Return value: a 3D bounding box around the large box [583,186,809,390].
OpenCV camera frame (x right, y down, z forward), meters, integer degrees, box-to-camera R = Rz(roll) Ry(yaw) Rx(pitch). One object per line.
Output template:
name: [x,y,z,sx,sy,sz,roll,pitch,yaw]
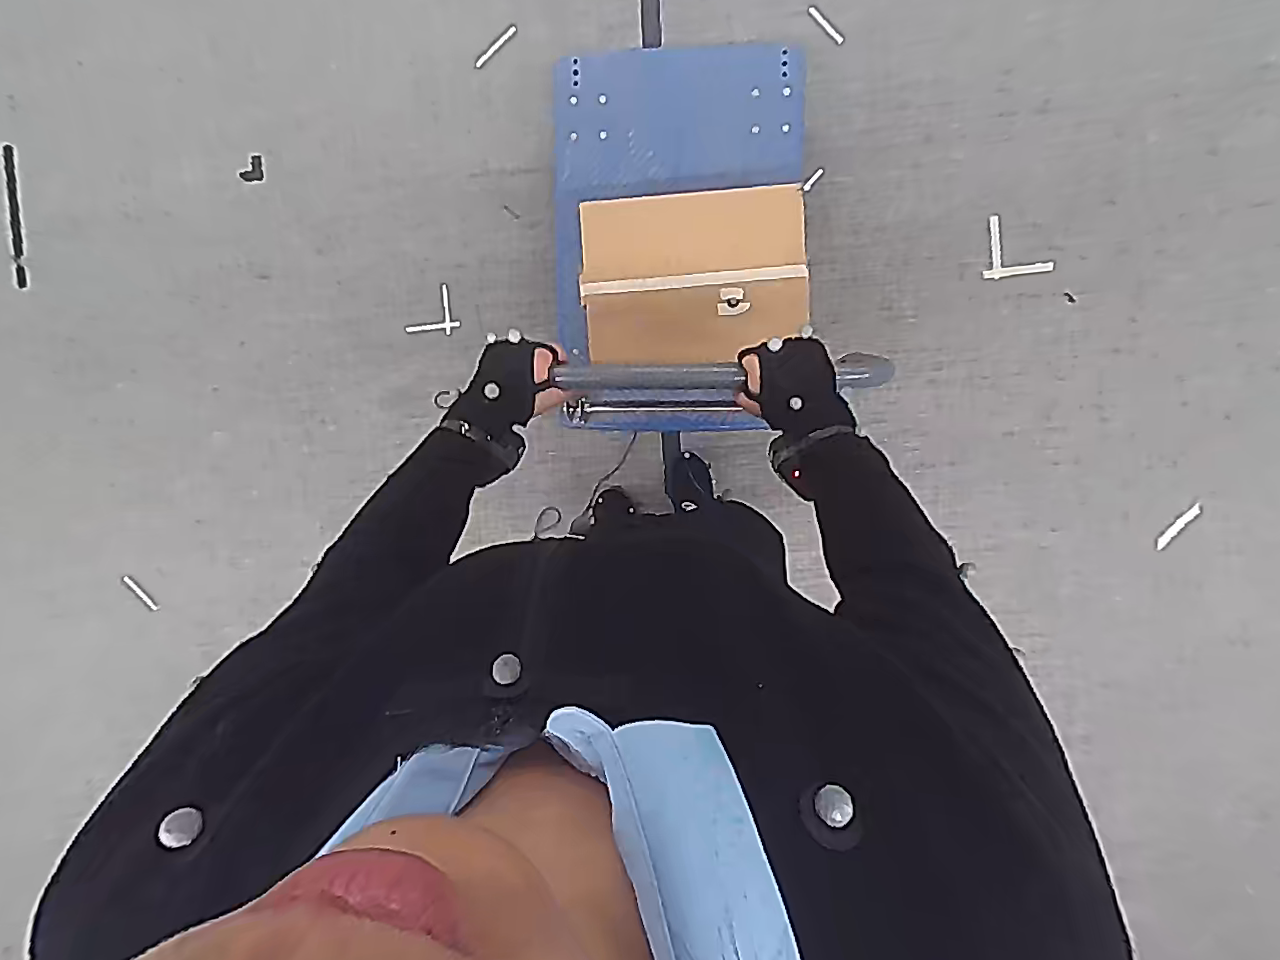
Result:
large box: [0.109,-0.376,1.146,0.408,0.320,0.320,-4,94,3]
